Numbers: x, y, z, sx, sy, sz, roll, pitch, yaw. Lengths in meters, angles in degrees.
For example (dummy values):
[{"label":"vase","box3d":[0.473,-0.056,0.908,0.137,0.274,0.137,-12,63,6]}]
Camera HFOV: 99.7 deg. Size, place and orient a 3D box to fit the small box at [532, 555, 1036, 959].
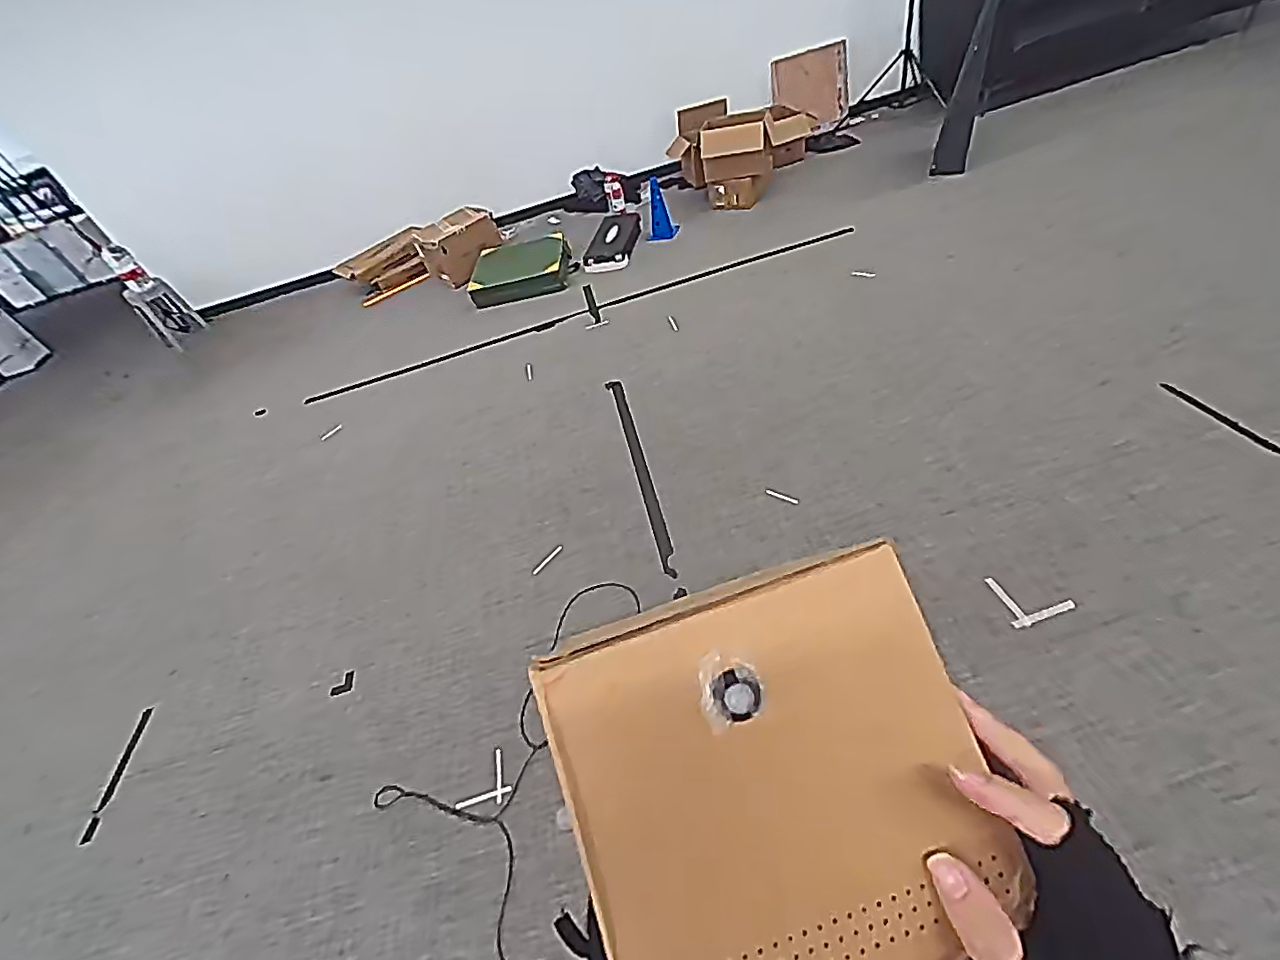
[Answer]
[{"label":"small box","box3d":[0.061,0.155,0.303,0.179,0.168,0.176,-18,78,-4]}]
